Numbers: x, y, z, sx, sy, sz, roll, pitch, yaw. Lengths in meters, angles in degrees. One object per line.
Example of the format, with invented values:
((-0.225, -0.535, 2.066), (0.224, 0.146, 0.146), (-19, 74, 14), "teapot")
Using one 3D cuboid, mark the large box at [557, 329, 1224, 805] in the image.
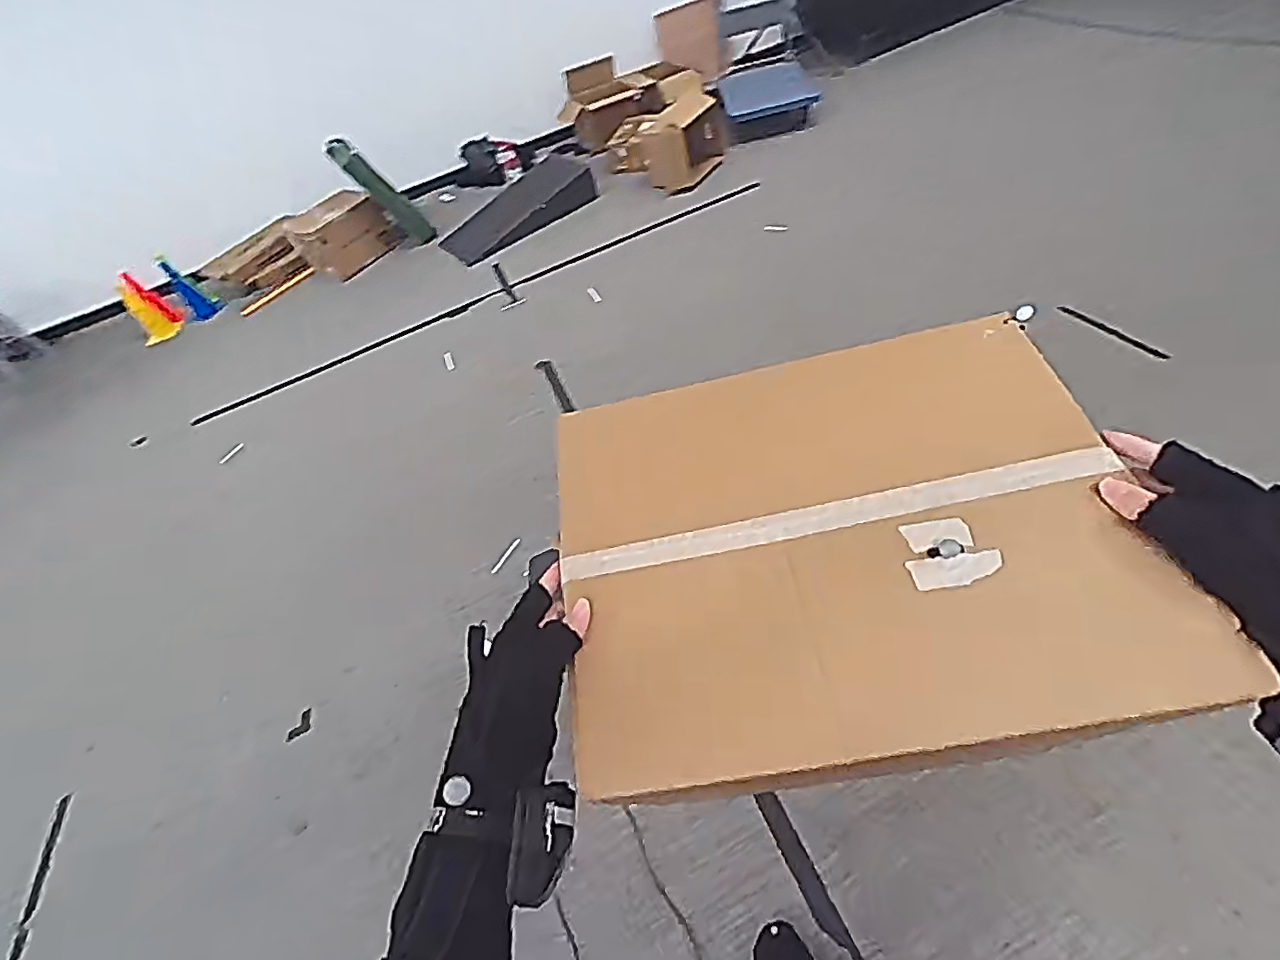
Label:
((0.161, 0.111, 0.539), (0.408, 0.320, 0.320), (-13, 58, 5), "large box")
